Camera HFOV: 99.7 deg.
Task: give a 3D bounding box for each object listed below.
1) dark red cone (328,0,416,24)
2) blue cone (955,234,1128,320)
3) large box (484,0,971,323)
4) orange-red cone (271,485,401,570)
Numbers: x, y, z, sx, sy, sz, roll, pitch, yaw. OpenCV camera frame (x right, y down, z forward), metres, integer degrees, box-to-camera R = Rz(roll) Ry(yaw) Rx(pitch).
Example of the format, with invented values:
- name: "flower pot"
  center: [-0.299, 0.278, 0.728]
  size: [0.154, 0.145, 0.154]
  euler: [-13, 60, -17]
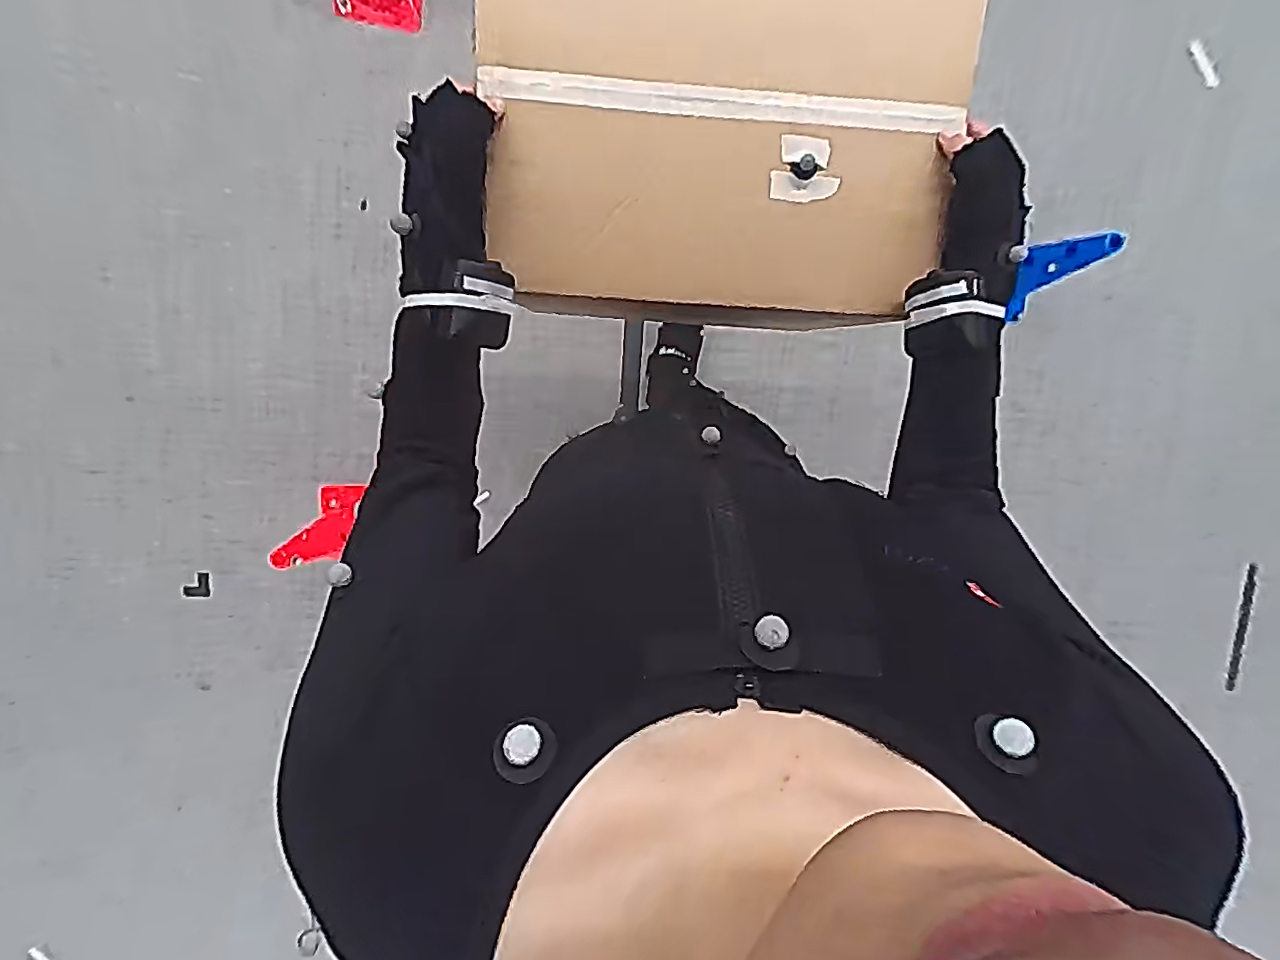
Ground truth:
- name: "dark red cone"
  center: [-0.596, -1.137, 1.068]
  size: [0.201, 0.394, 0.202]
  euler: [8, 98, -5]
- name: "blue cone"
  center: [0.937, -0.499, 1.259]
  size: [0.192, 0.380, 0.193]
  euler: [6, 98, -4]
- name: "large box"
  center: [0.060, -0.349, 0.595]
  size: [0.408, 0.320, 0.320]
  euler: [2, 103, -5]
- name: "orange-red cone"
  center: [-0.735, 0.141, 1.270]
  size: [0.198, 0.360, 0.199]
  euler: [0, 100, -1]
